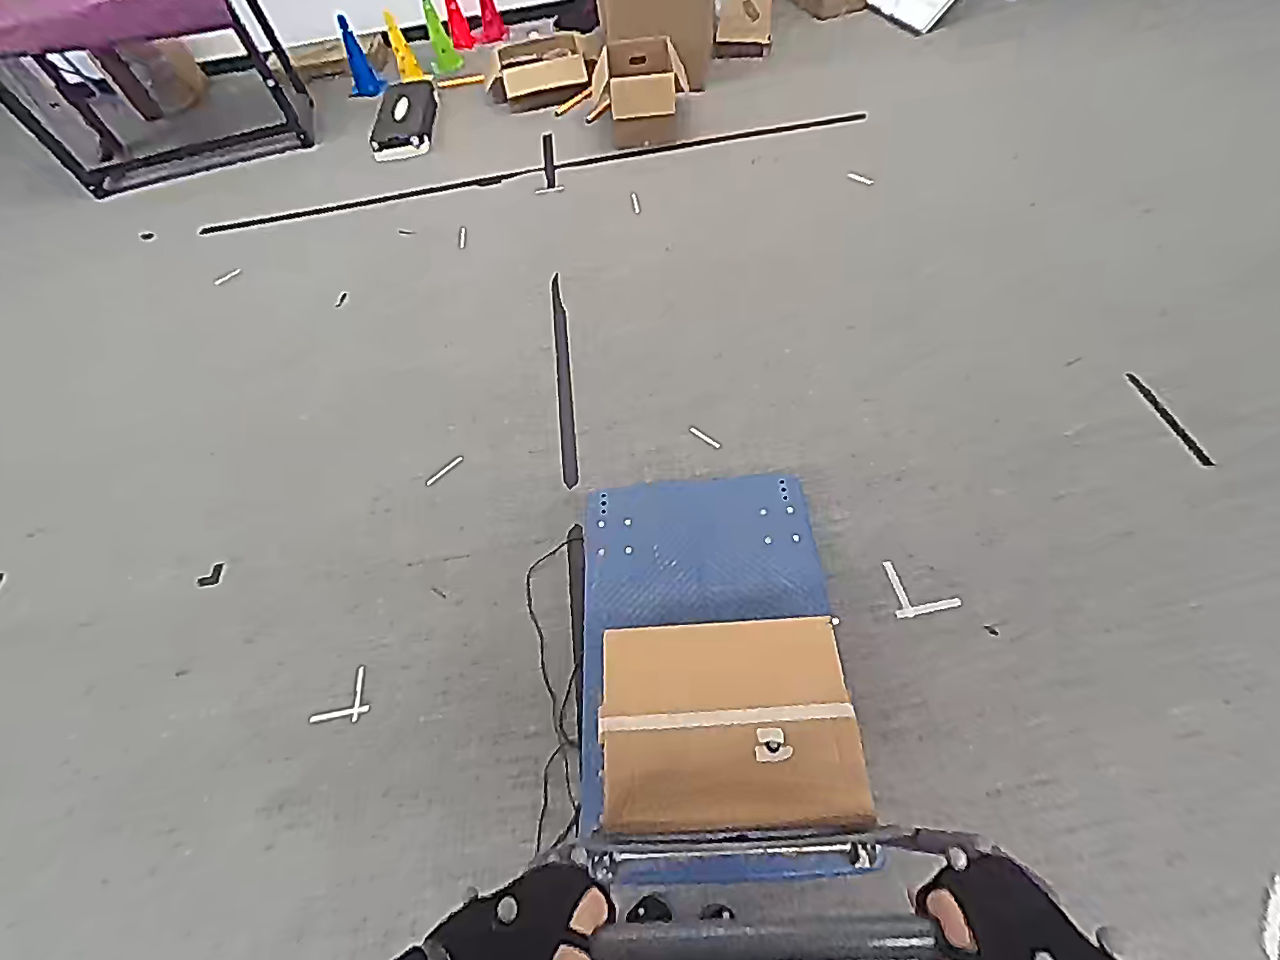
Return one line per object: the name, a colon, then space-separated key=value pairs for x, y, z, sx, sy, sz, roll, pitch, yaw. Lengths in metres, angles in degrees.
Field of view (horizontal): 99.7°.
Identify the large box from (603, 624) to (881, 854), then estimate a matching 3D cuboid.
large box: x=0.151 y=0.475 z=0.983 sx=0.408 sy=0.320 sz=0.320 roll=-4 pitch=58 yaw=2
